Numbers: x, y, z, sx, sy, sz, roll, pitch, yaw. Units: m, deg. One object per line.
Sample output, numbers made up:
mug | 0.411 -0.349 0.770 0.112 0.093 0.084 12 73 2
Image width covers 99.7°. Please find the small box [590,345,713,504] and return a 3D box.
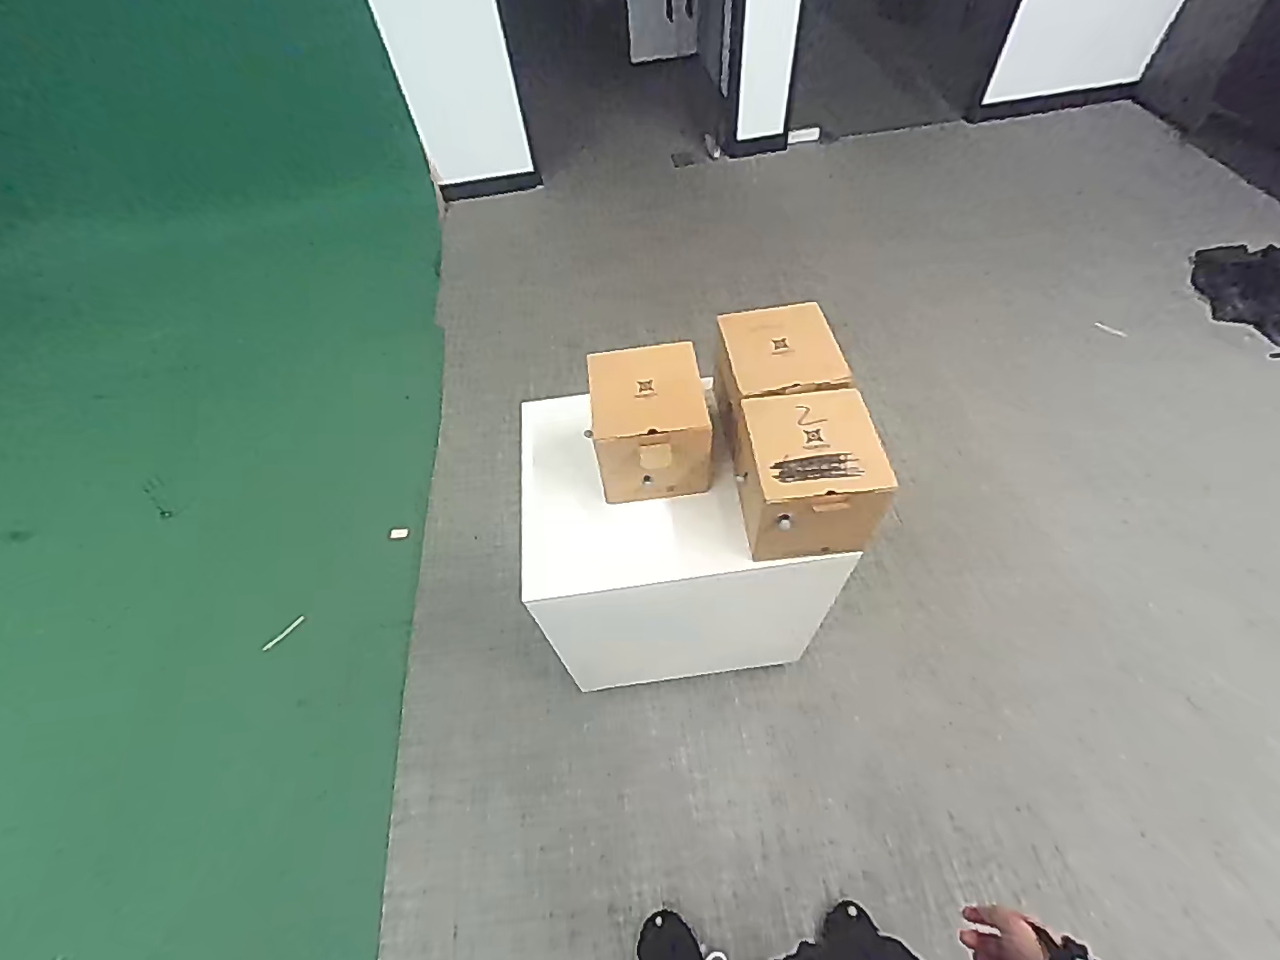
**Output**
small box | 0.016 -0.084 0.853 0.168 0.176 0.179 -8 56 0
